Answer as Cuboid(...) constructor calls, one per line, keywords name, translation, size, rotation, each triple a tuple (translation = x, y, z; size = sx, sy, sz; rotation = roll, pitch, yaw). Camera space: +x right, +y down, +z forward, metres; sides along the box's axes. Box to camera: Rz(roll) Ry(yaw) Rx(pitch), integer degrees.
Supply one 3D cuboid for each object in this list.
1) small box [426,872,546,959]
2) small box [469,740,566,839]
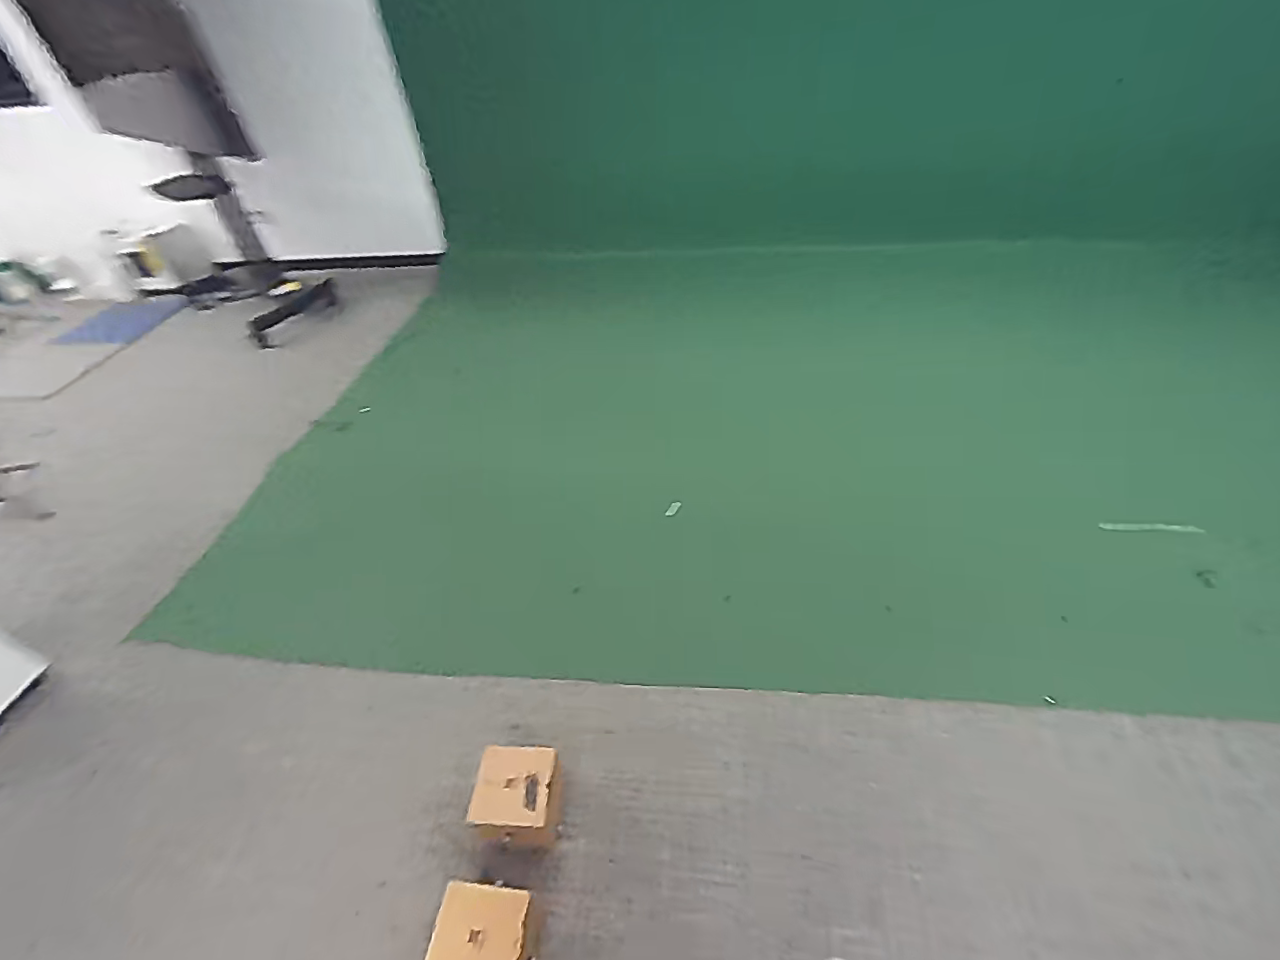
Cuboid(name="small box", translation=(-0.306, 0.928, 1.101), size=(0.179, 0.176, 0.168), rotation=(2, 44, 7))
Cuboid(name="small box", translation=(-0.281, 0.741, 1.293), size=(0.179, 0.176, 0.168), rotation=(-1, 44, 5))
